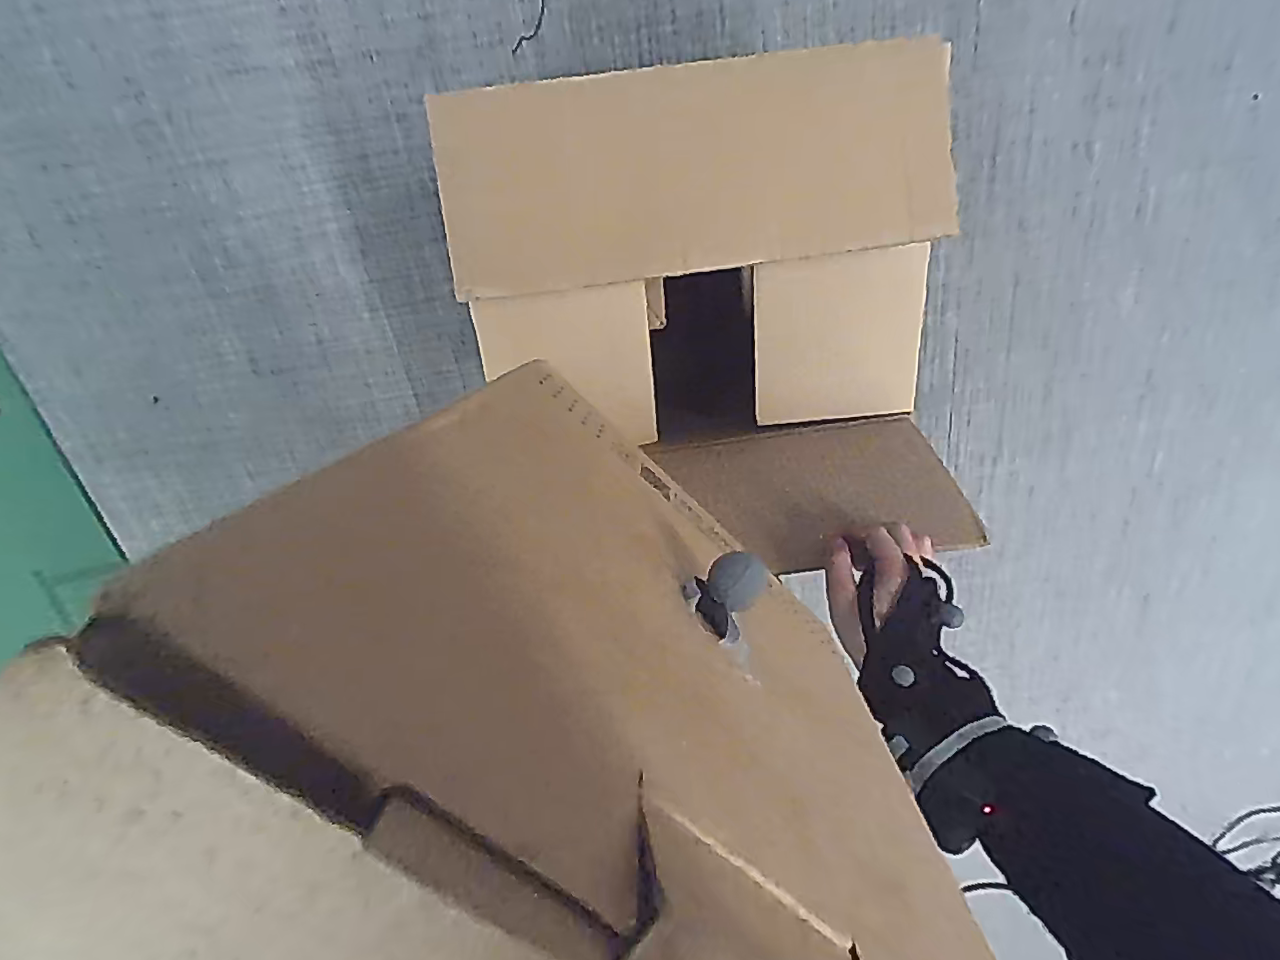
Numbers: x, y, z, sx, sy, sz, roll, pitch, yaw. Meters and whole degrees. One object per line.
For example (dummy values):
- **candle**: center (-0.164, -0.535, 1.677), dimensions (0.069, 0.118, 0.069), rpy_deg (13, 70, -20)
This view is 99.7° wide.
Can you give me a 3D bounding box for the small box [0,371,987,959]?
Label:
- **small box**: center (-0.043, 0.090, 0.157), dimensions (0.168, 0.176, 0.179), rpy_deg (43, 105, -12)
